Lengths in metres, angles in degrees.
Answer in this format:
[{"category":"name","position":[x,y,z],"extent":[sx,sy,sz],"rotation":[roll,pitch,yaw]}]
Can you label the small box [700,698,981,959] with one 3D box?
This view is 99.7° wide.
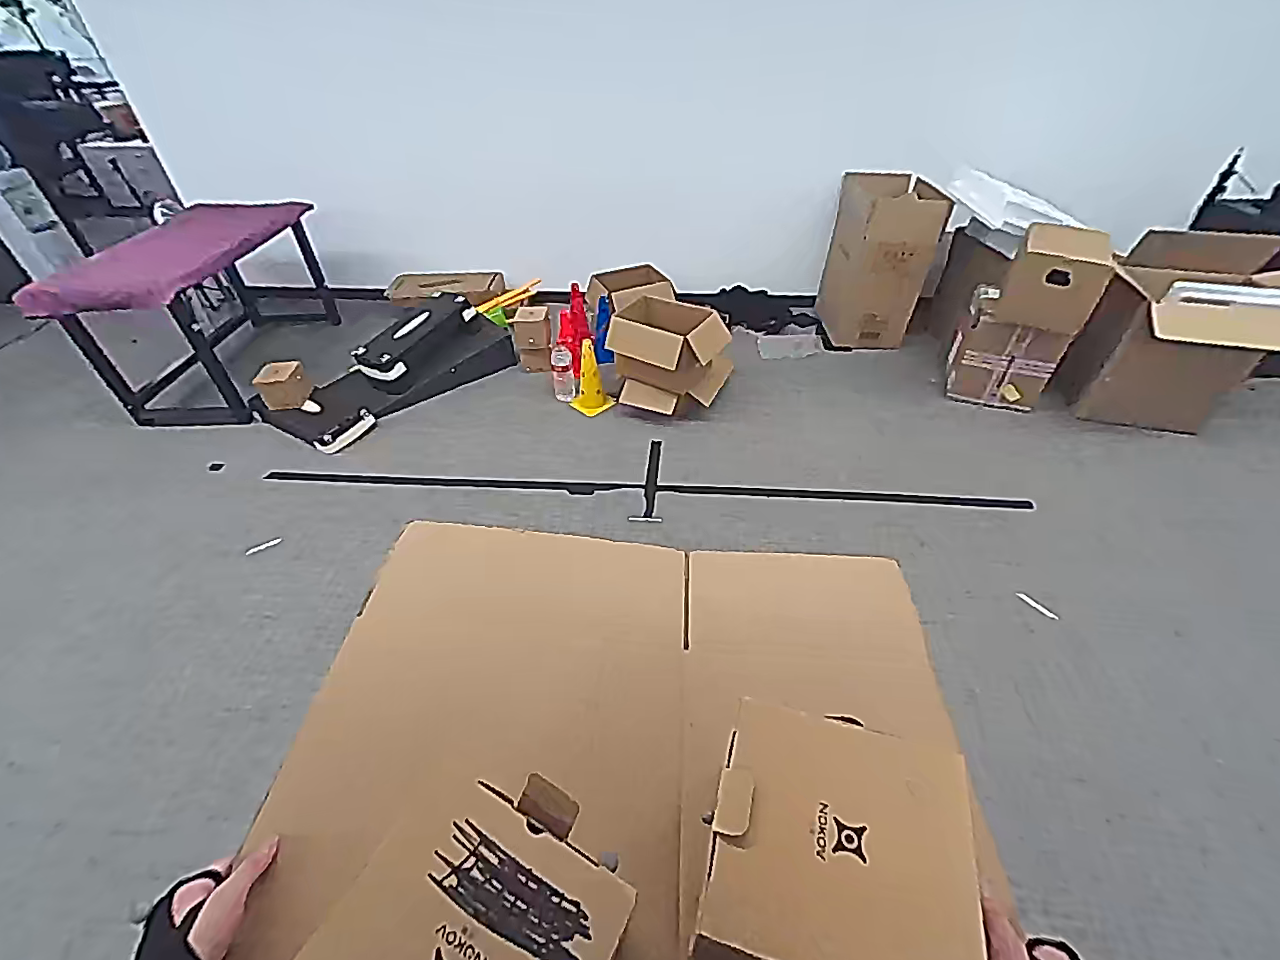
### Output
[{"category":"small box","position":[0.152,0.314,0.451],"extent":[0.179,0.176,0.168],"rotation":[9,46,14]}]
